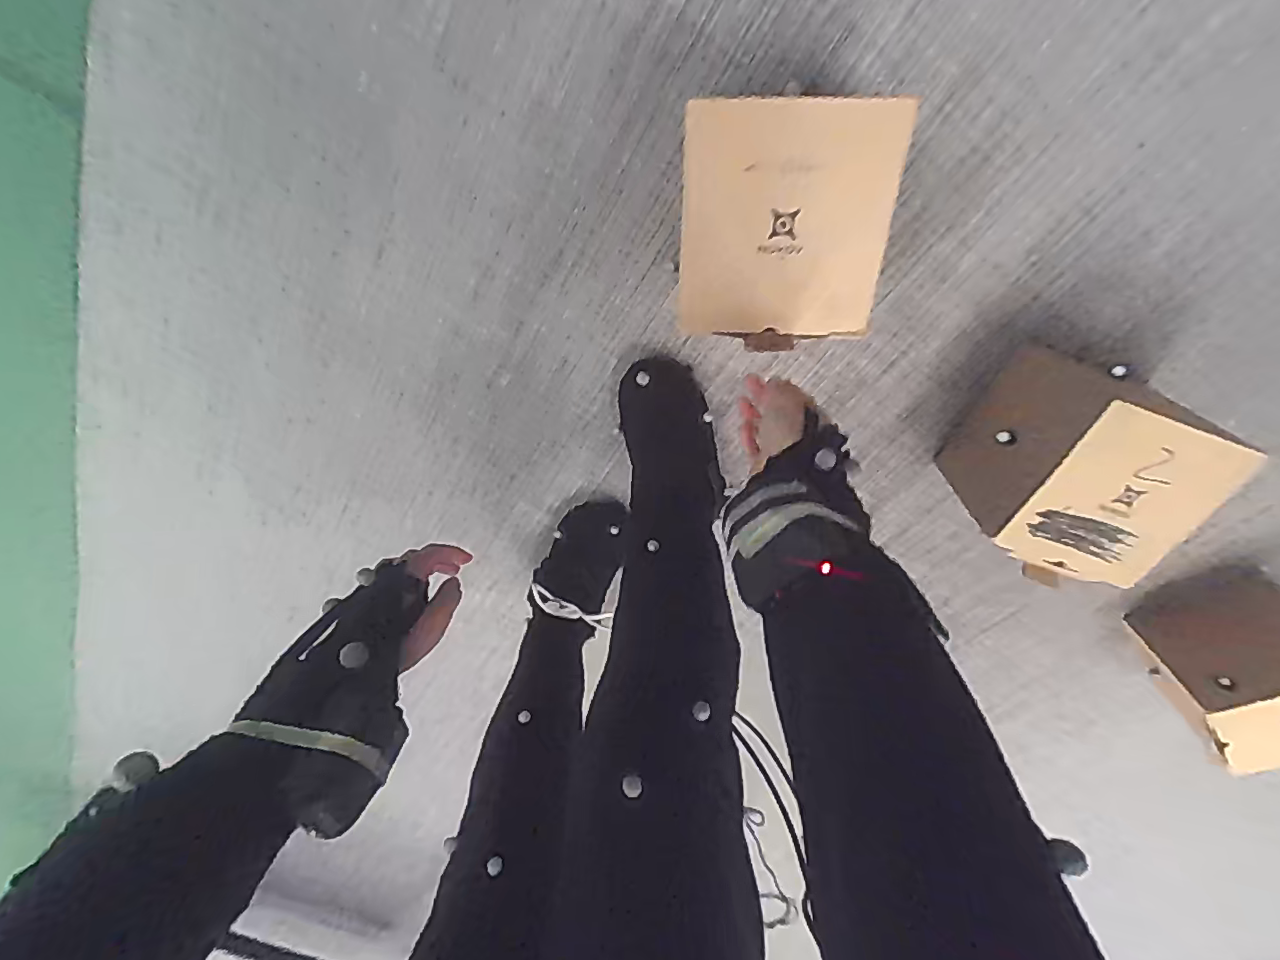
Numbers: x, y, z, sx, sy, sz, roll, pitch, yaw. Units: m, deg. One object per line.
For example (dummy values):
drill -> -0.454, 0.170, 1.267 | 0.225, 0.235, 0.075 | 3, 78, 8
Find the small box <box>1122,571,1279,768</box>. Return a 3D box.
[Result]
small box -> 0.831, 0.256, 0.743 | 0.179, 0.176, 0.168 | -31, 115, 24

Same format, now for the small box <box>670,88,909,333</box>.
small box -> 0.116, -0.248, 0.496 | 0.168, 0.176, 0.179 | 2, 122, 4
